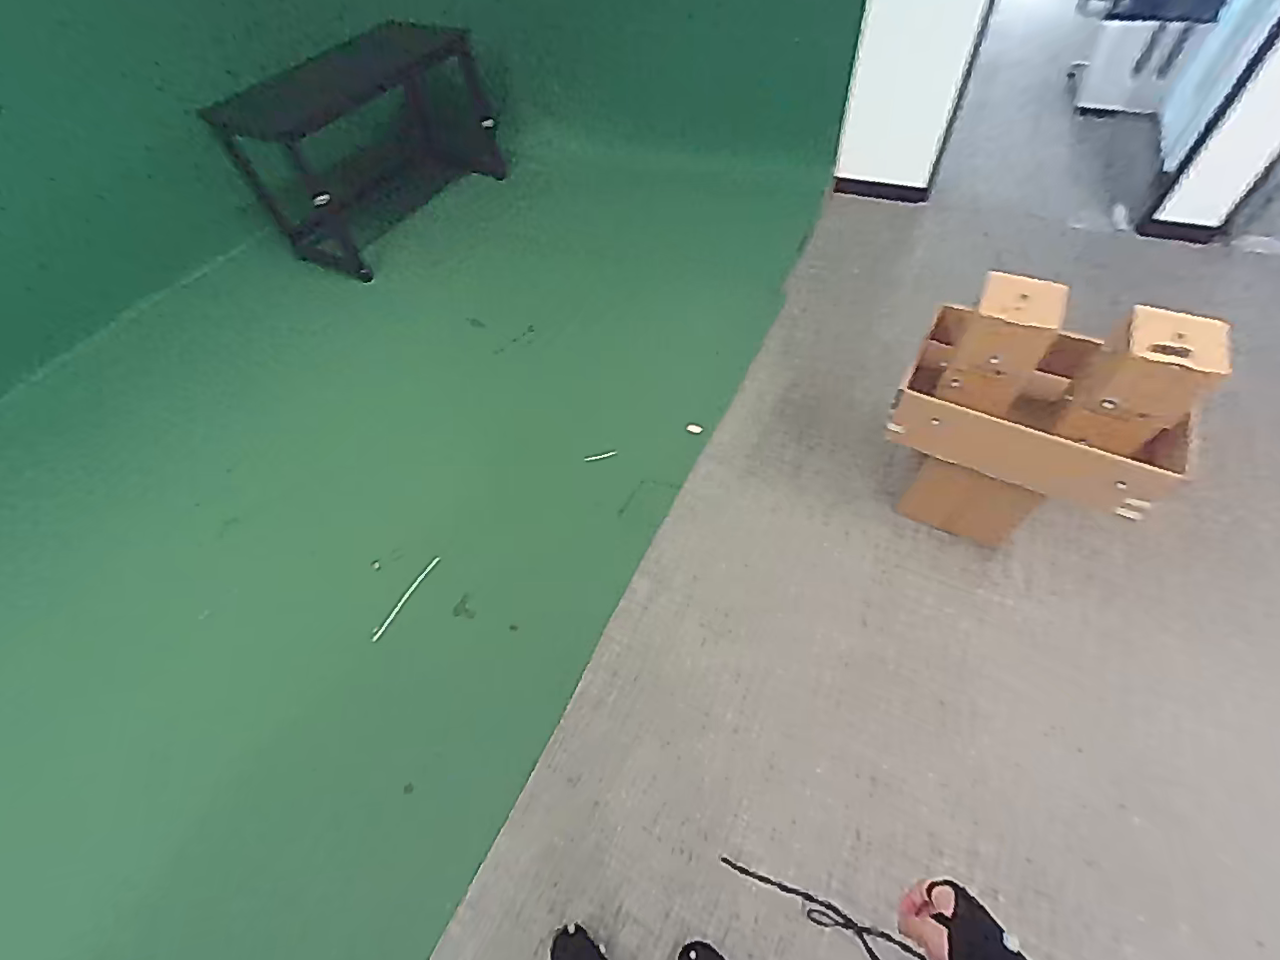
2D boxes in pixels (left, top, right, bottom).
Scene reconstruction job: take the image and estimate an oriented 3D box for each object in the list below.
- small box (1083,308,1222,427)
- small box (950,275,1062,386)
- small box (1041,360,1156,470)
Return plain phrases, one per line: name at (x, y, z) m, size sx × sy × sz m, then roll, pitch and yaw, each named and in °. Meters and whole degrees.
small box at (1.131, -0.246, 1.204) m, size 0.168 × 0.176 × 0.179 m, roll 22°, pitch 60°, yaw 19°
small box at (0.879, -0.361, 1.310) m, size 0.168 × 0.176 × 0.179 m, roll 22°, pitch 60°, yaw 20°
small box at (1.141, -0.159, 1.344) m, size 0.168 × 0.176 × 0.179 m, roll 26°, pitch 62°, yaw 22°
